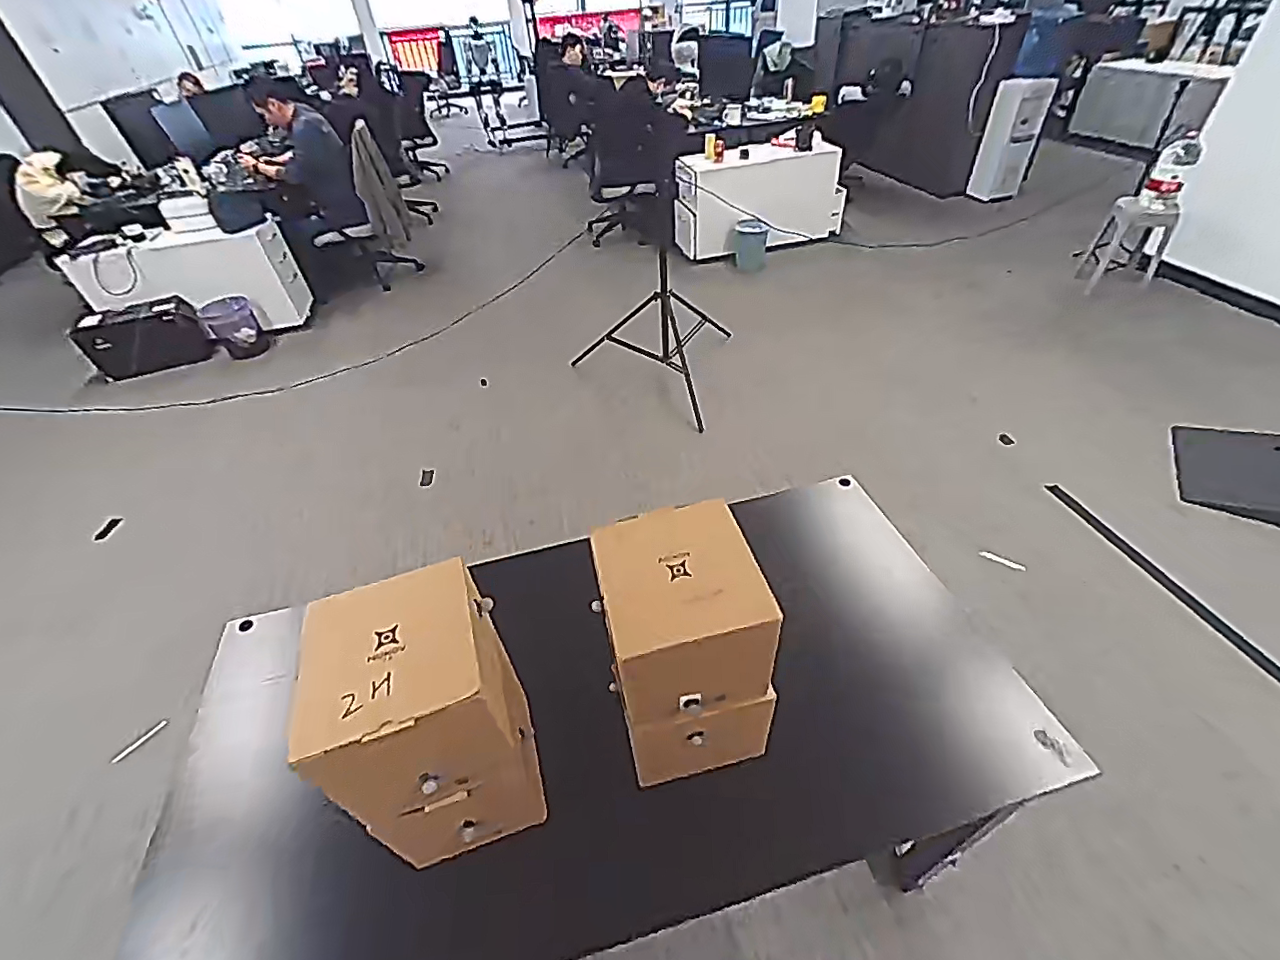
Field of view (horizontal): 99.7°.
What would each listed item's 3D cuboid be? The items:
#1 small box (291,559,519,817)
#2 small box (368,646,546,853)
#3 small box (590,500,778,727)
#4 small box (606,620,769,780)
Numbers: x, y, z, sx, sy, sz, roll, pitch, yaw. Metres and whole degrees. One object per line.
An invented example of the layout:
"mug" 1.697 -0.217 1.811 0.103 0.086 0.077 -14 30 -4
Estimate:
"small box" -0.241 0.222 0.587 0.168 0.176 0.179 -17 43 -12
"small box" -0.228 0.347 0.695 0.168 0.176 0.179 -16 43 -10
"small box" 0.044 0.154 0.634 0.168 0.176 0.179 -13 44 -6
"small box" 0.060 0.280 0.737 0.179 0.176 0.168 -11 42 -7
